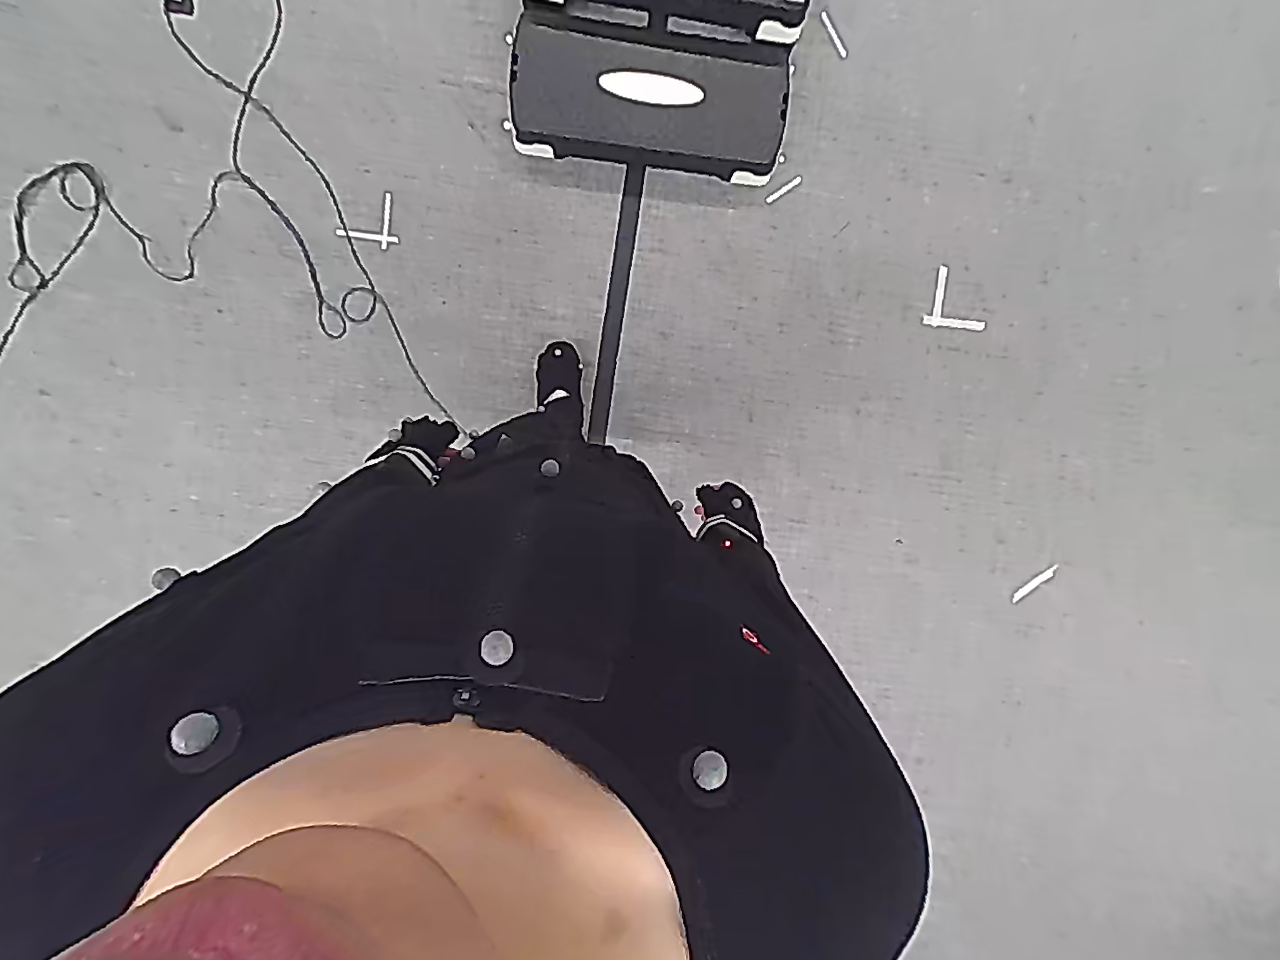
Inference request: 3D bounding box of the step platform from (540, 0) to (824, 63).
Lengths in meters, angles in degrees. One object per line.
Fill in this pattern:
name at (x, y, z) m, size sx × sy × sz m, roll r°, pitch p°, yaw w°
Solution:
step platform at (0.101, -1.216, 1.246) m, size 0.684 × 0.204 × 0.286 m, roll 6°, pitch 96°, yaw -5°
